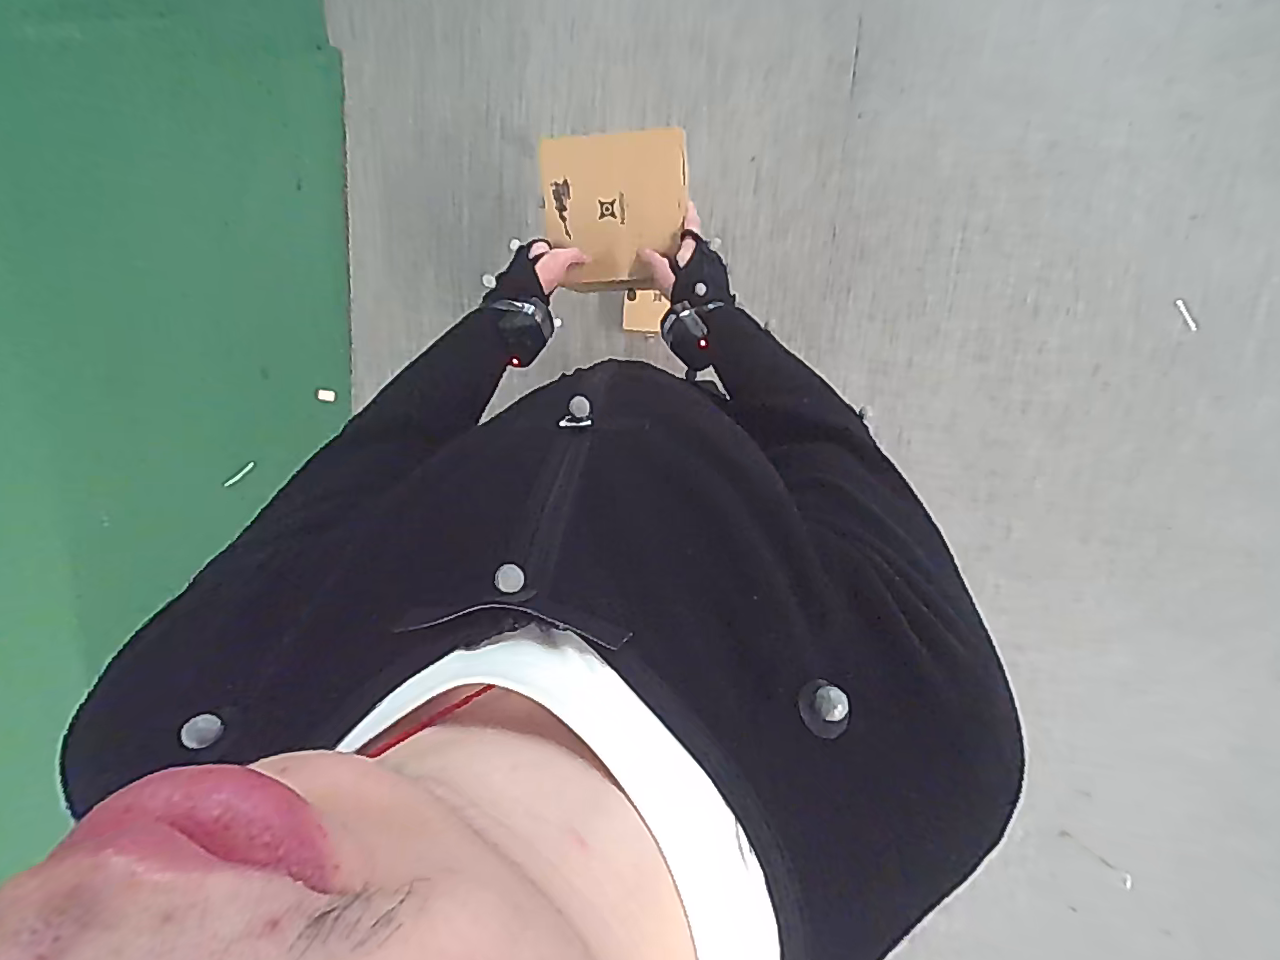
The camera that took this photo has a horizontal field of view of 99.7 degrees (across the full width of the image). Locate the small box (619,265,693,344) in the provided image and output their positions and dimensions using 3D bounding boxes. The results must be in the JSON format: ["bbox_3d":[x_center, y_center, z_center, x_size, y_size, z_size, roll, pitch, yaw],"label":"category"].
[{"bbox_3d":[0.042,-0.459,1.404,0.168,0.176,0.179,7,100,3],"label":"small box"}]

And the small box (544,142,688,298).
[{"bbox_3d":[-0.023,-0.343,0.744,0.179,0.176,0.168,0,105,6],"label":"small box"}]
